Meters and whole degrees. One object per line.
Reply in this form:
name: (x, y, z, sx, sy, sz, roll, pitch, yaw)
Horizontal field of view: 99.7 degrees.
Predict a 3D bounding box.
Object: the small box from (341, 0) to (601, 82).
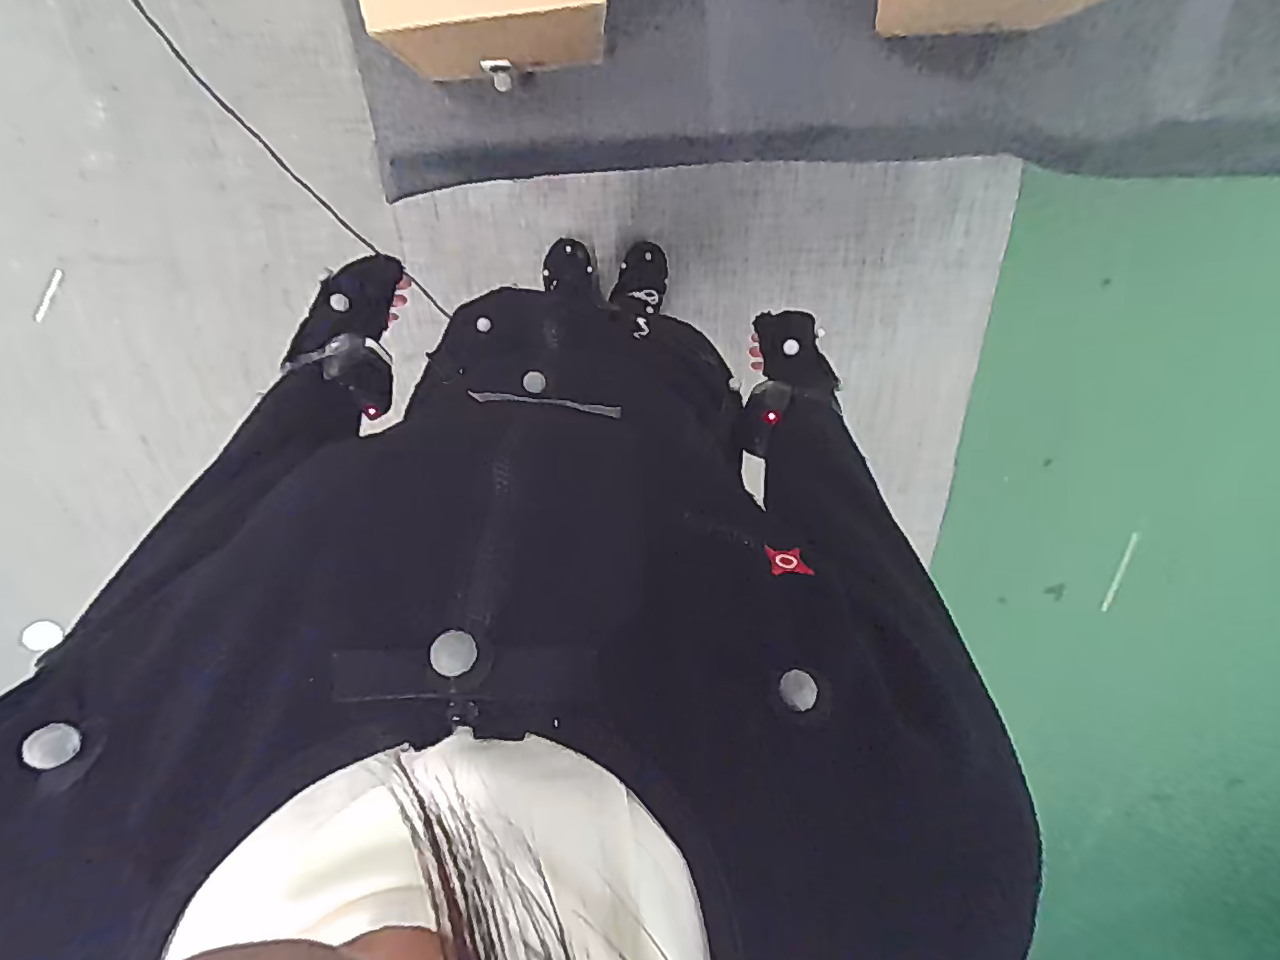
small box: (-0.118, -0.413, 0.384, 0.168, 0.176, 0.179, -5, 116, -1)
